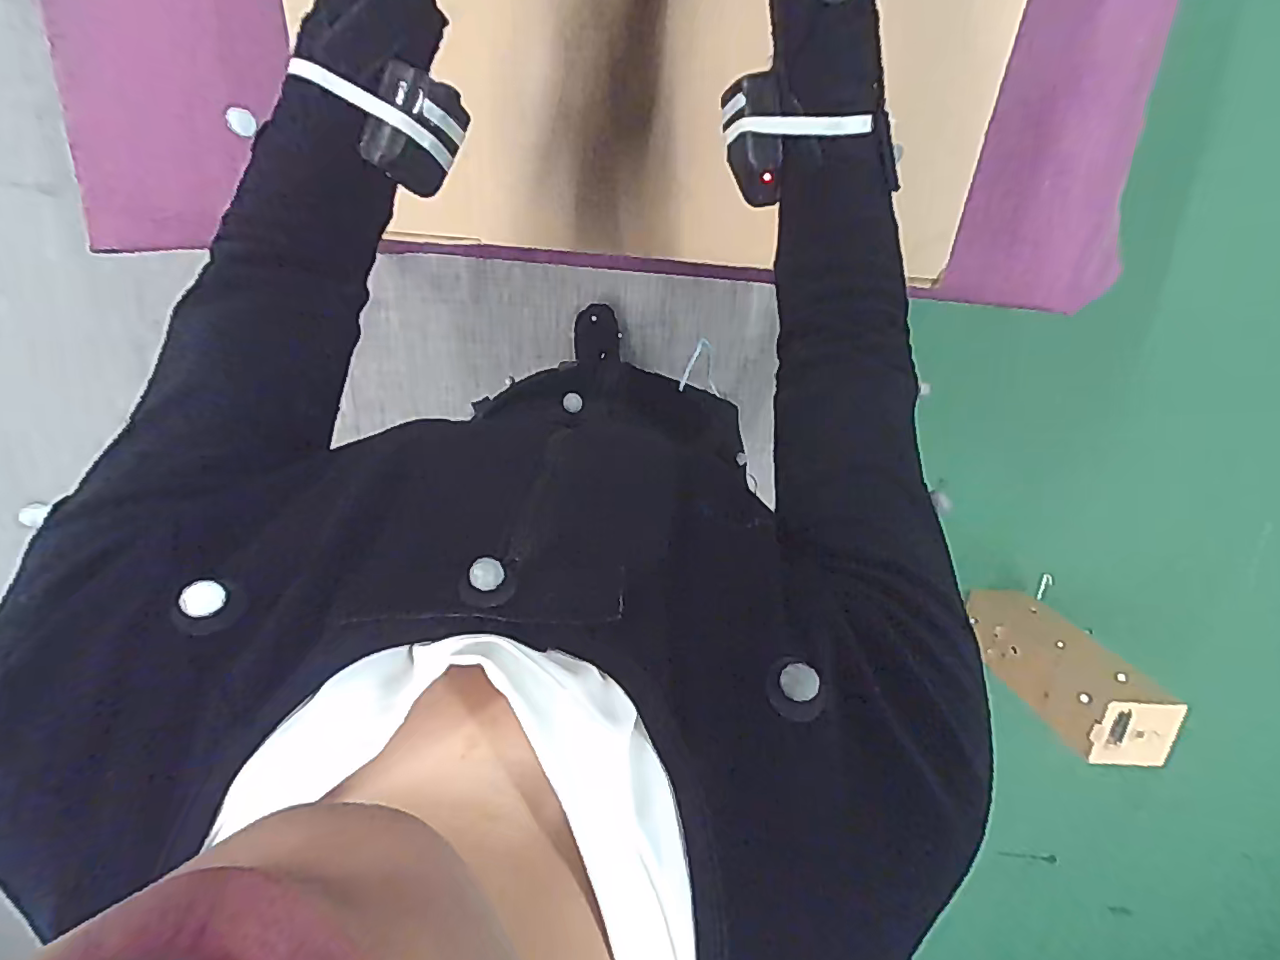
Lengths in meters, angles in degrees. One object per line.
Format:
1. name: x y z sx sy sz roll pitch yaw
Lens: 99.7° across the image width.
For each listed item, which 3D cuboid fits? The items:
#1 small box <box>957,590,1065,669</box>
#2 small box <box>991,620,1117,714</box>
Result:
1. small box: 1.067 0.434 1.566 0.179 0.176 0.168 5 107 -2
2. small box: 1.069 0.482 1.410 0.179 0.176 0.168 3 108 -1
